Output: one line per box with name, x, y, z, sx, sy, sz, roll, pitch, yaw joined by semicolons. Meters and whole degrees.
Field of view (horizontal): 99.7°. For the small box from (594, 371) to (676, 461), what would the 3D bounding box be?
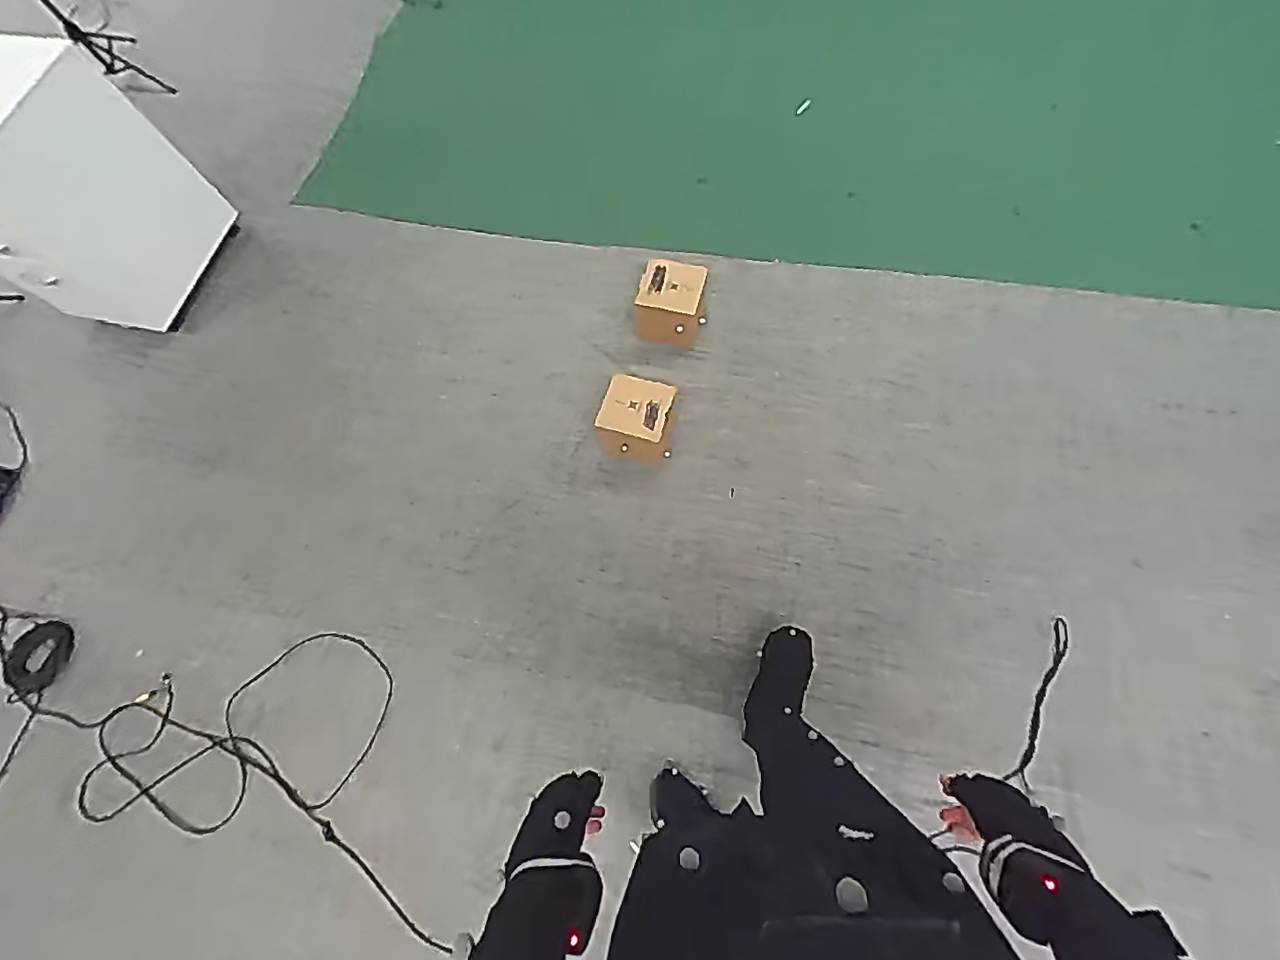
small box;-0.005;-0.166;1.459;0.179;0.176;0.168;16;71;11
